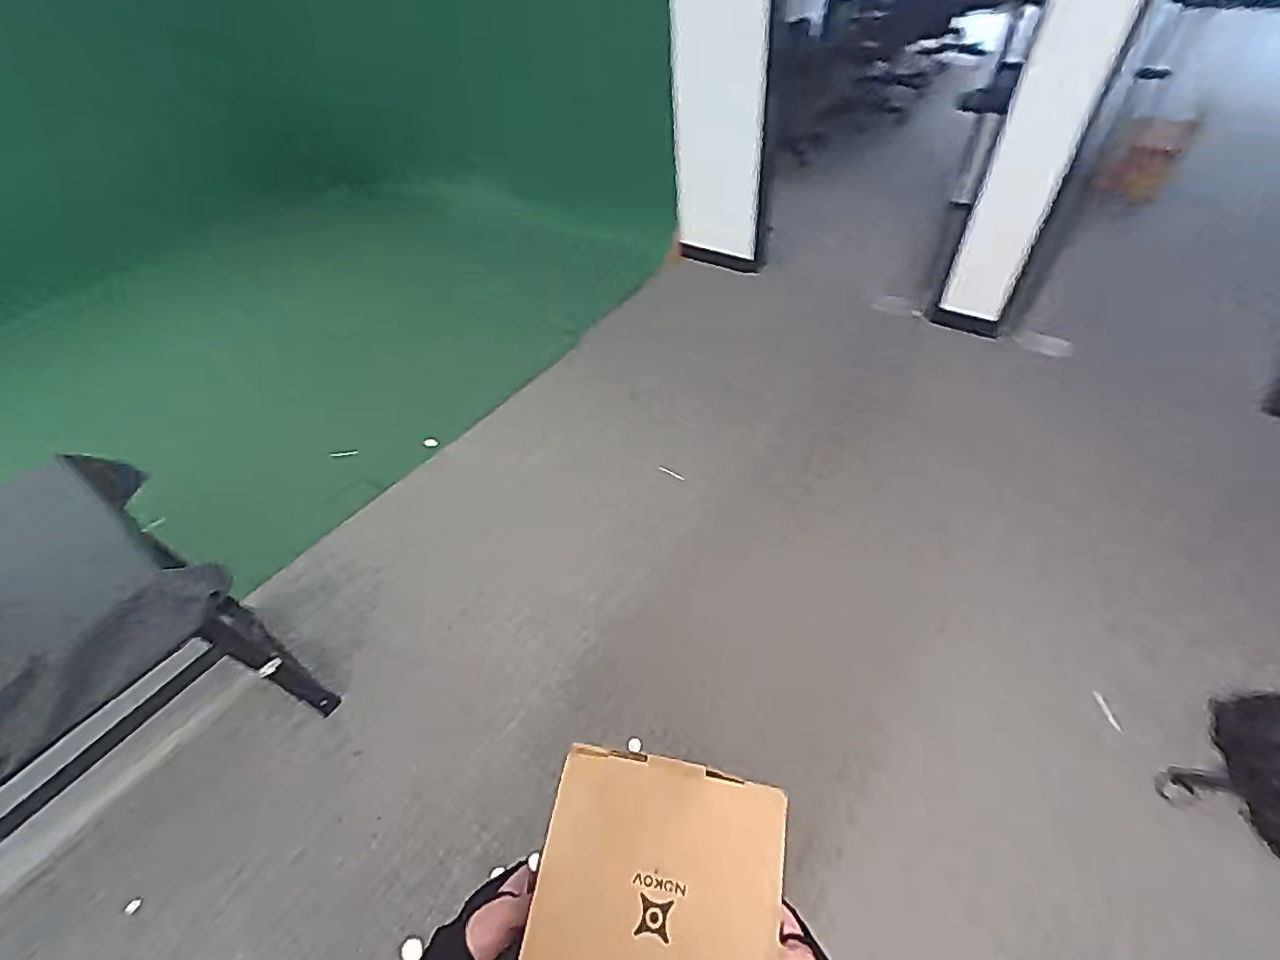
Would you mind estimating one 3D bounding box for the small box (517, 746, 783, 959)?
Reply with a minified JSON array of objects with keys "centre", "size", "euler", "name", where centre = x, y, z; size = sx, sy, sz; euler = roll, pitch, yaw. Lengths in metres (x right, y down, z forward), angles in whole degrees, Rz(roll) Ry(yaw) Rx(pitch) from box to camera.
[{"centre":[0.009,0.328,0.429],"size":[0.168,0.176,0.179],"euler":[9,62,7],"name":"small box"}]
